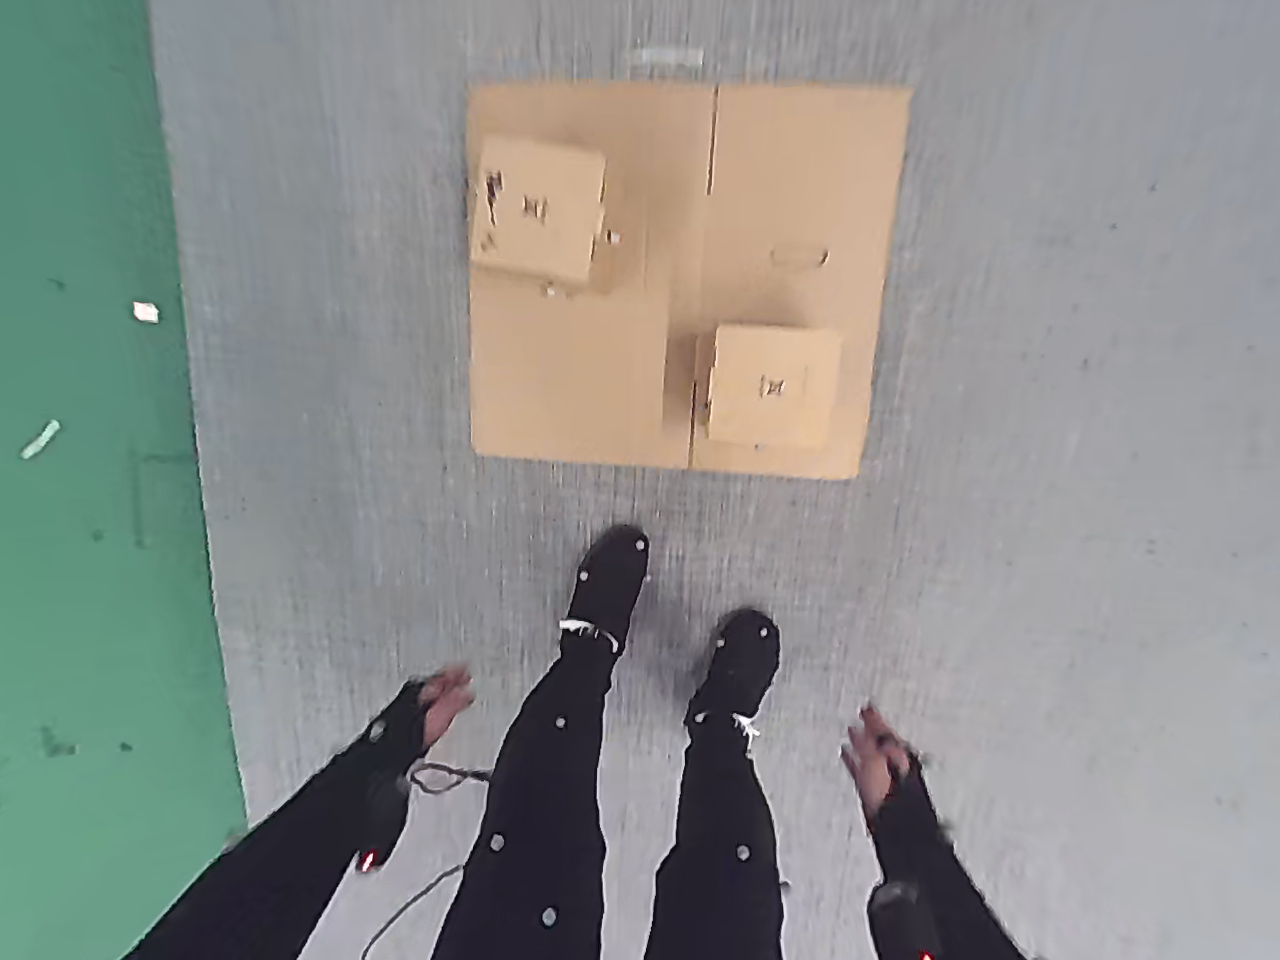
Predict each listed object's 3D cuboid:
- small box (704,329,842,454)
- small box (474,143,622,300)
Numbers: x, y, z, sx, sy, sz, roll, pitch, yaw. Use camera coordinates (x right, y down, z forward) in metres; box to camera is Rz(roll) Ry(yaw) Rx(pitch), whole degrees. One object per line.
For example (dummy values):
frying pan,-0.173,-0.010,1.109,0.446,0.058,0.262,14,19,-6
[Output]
small box,0.195,-0.140,0.848,0.179,0.176,0.168,5,102,5
small box,-0.131,-0.379,0.827,0.179,0.176,0.168,12,102,2
